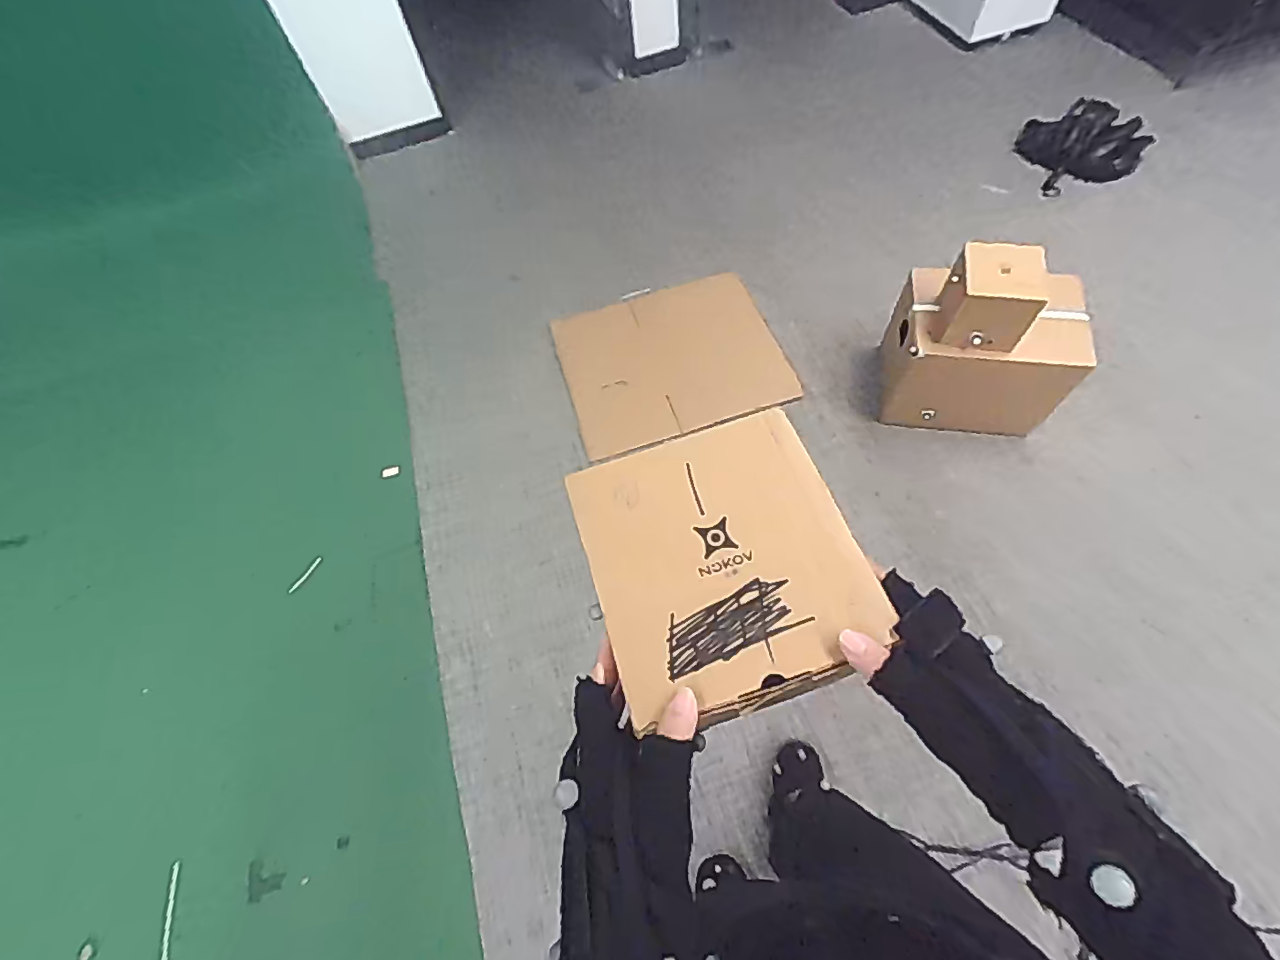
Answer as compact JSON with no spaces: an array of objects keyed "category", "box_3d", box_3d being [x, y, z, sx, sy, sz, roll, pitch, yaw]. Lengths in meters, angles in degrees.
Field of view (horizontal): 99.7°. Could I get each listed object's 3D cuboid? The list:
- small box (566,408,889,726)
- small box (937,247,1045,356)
[{"category":"small box","box_3d":[0.056,0.079,0.422,0.168,0.176,0.179,-18,61,-3]},{"category":"small box","box_3d":[0.825,-0.424,1.291,0.168,0.176,0.179,8,64,12]}]
